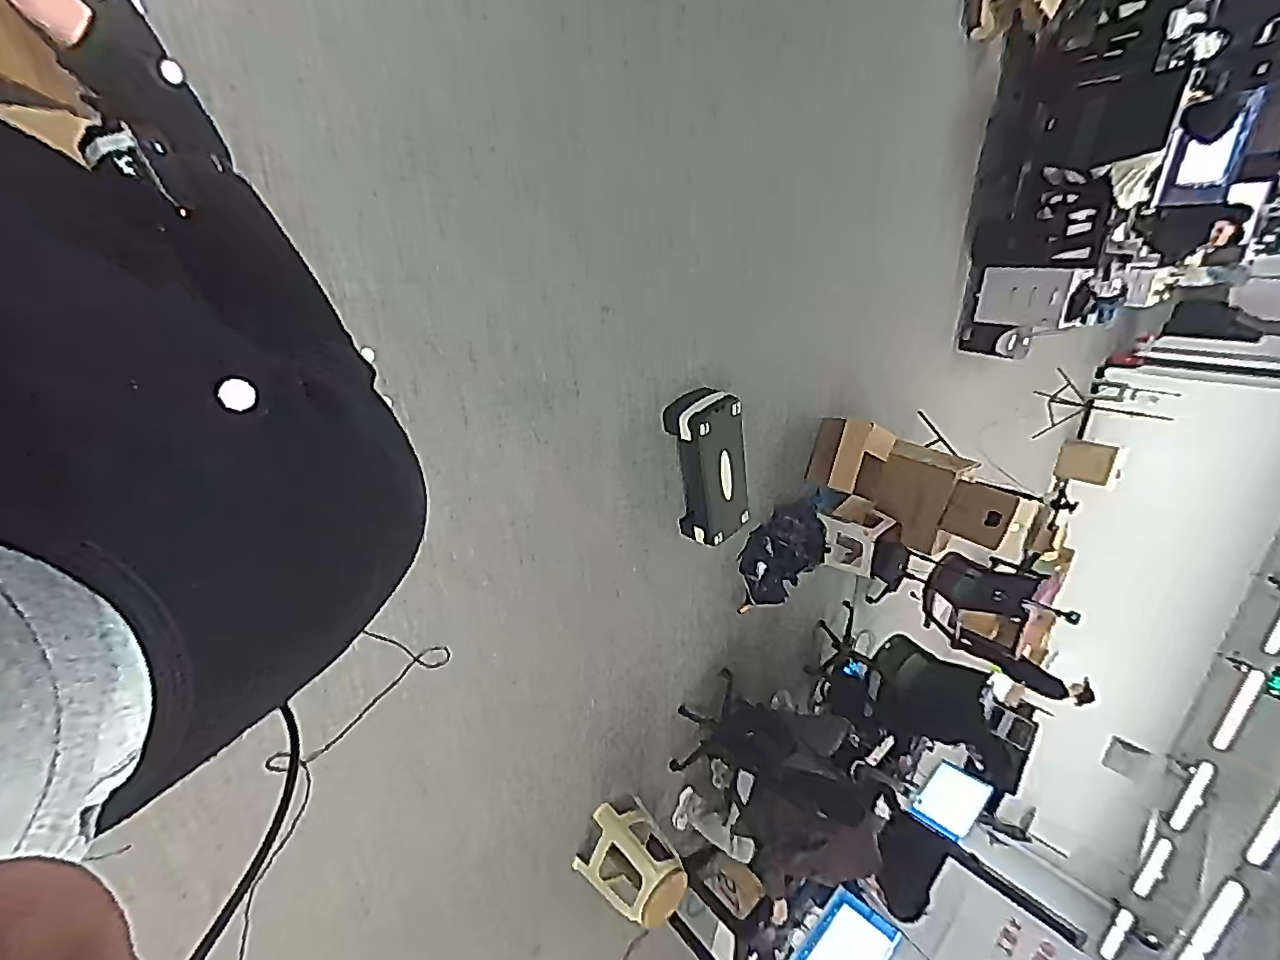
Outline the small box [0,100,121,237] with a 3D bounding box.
[{"bbox_3d":[-1.046,-0.544,0.962,0.168,0.176,0.179,-5,110,-42],"label":"small box"}]
